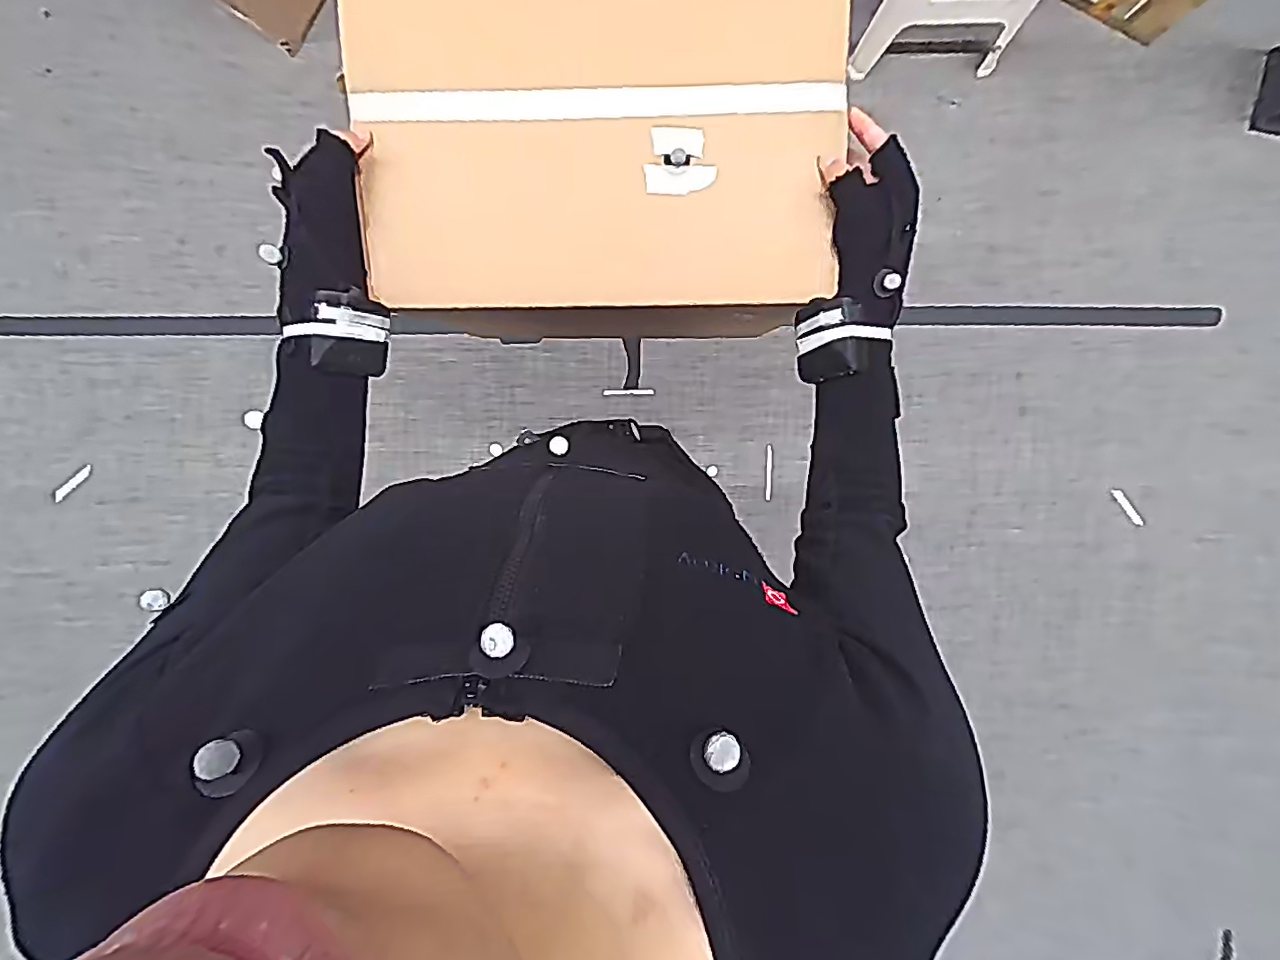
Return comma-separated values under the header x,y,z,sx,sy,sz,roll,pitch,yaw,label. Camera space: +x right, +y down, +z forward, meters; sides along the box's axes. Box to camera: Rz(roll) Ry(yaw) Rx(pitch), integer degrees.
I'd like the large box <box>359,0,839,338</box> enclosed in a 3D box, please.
x,y,z,sx,sy,sz,roll,pitch,yaw,label
-0.034,-0.336,0.606,0.408,0.320,0.320,-1,101,0,large box
